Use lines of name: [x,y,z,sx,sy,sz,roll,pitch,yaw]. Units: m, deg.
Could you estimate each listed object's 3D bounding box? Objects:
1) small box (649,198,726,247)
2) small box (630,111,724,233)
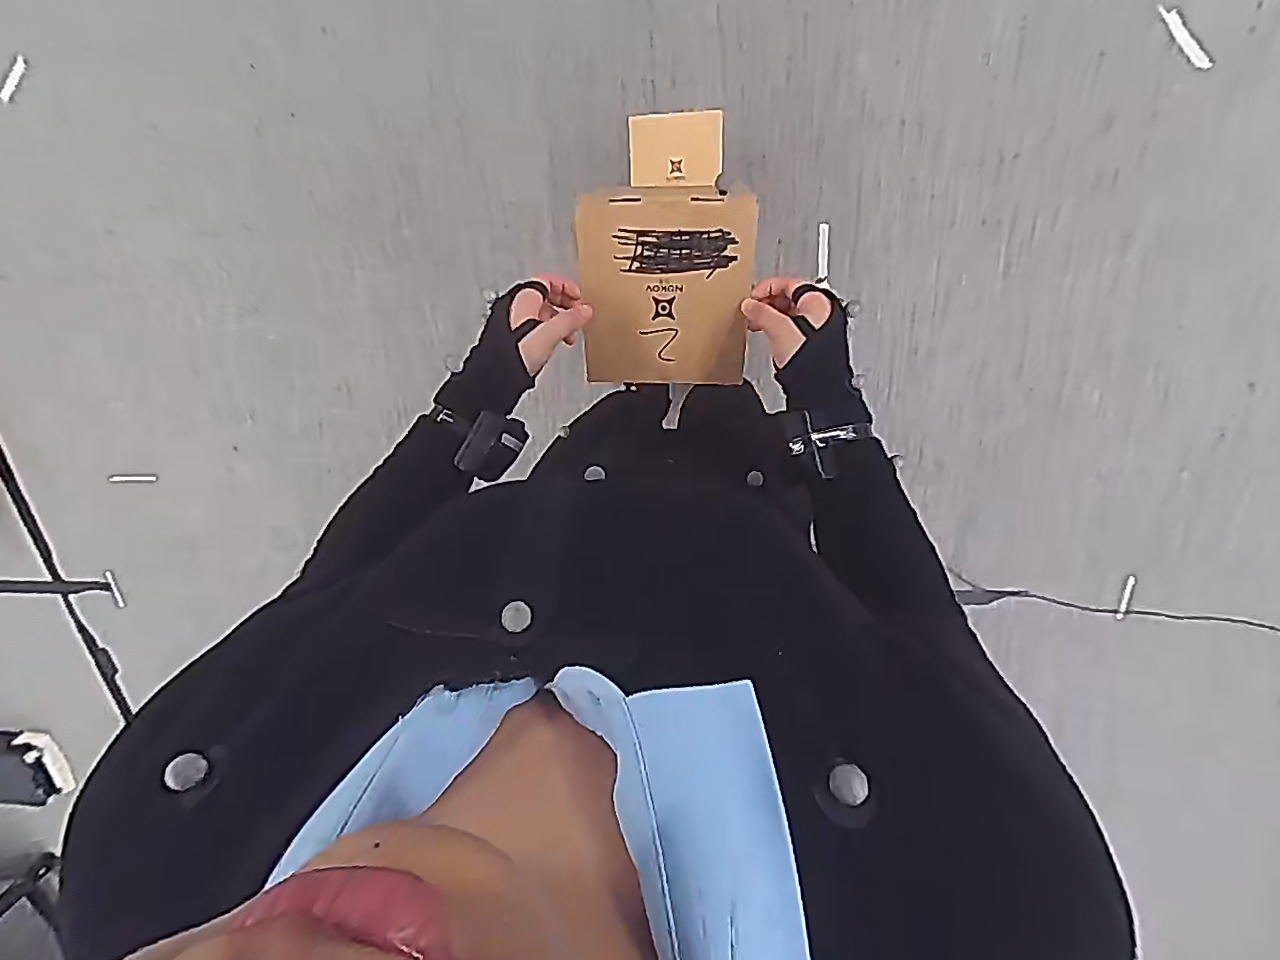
small box: [0.088,-0.627,1.187,0.168,0.176,0.179,-12,109,9]
small box: [0.069,-0.577,1.033,0.168,0.176,0.179,-1,110,4]
